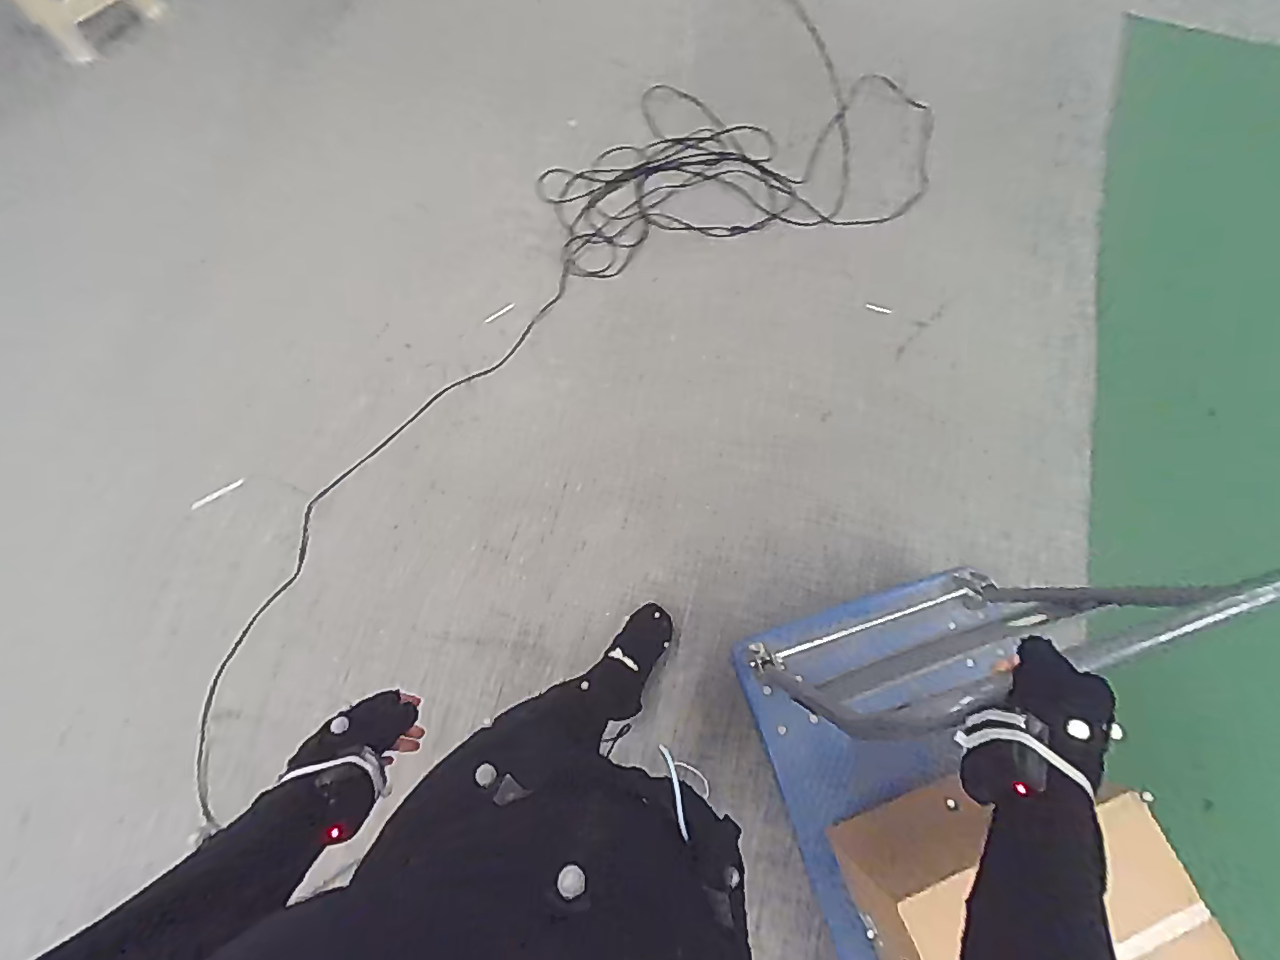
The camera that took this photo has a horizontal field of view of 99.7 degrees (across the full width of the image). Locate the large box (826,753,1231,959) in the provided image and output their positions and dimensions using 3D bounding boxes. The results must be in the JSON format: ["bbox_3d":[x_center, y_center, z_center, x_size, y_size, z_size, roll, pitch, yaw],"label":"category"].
[{"bbox_3d":[0.591,0.703,0.875,0.408,0.320,0.320,-21,75,-7],"label":"large box"}]
